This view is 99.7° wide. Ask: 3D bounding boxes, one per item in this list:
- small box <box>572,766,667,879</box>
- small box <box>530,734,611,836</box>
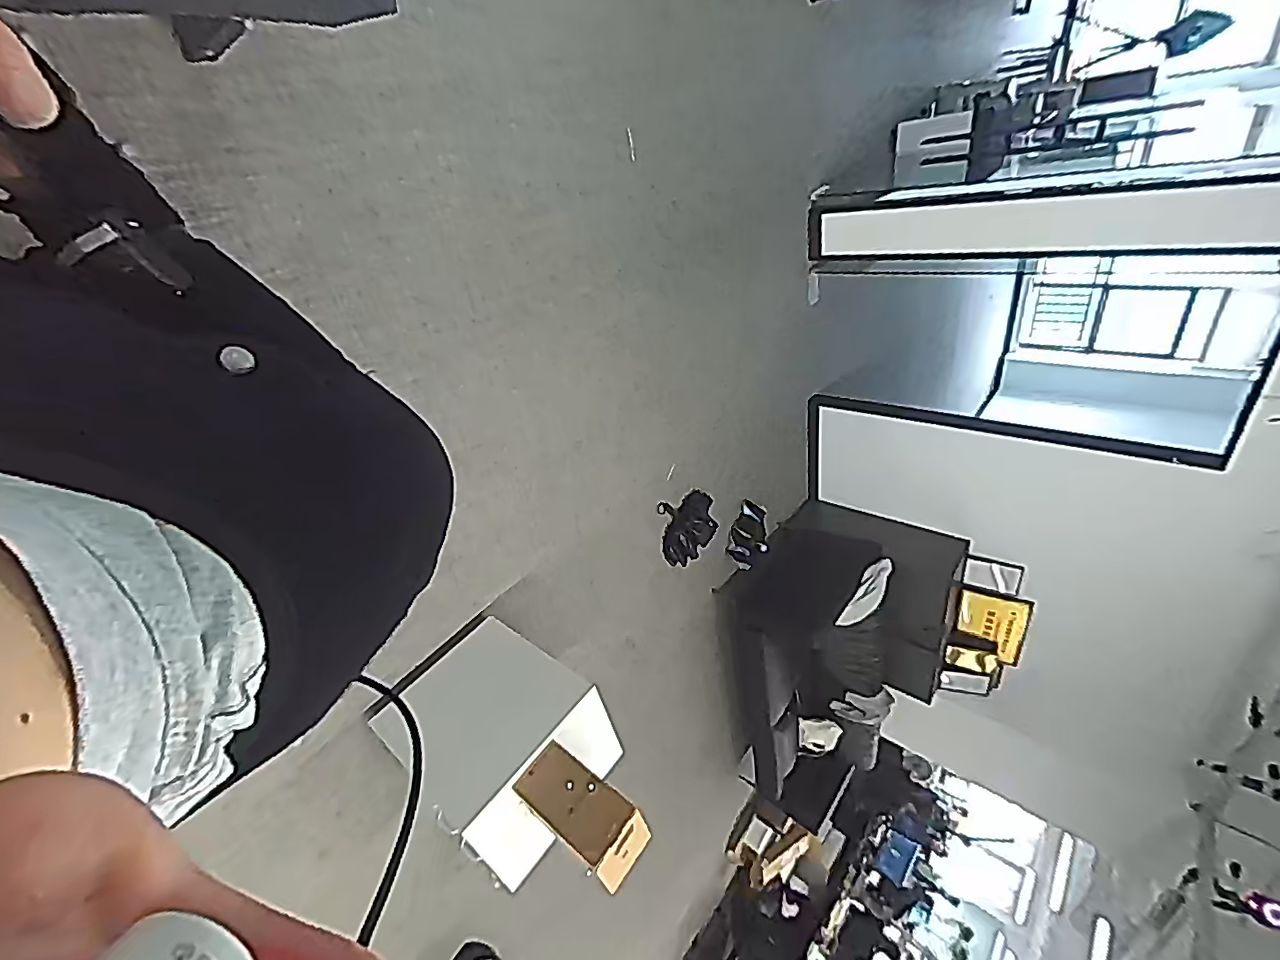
[{"bbox_3d":[-0.055,0.900,1.438,0.168,0.176,0.179,-44,135,-32],"label":"small box"},{"bbox_3d":[-0.180,0.861,1.538,0.168,0.176,0.179,-46,136,-32],"label":"small box"}]
